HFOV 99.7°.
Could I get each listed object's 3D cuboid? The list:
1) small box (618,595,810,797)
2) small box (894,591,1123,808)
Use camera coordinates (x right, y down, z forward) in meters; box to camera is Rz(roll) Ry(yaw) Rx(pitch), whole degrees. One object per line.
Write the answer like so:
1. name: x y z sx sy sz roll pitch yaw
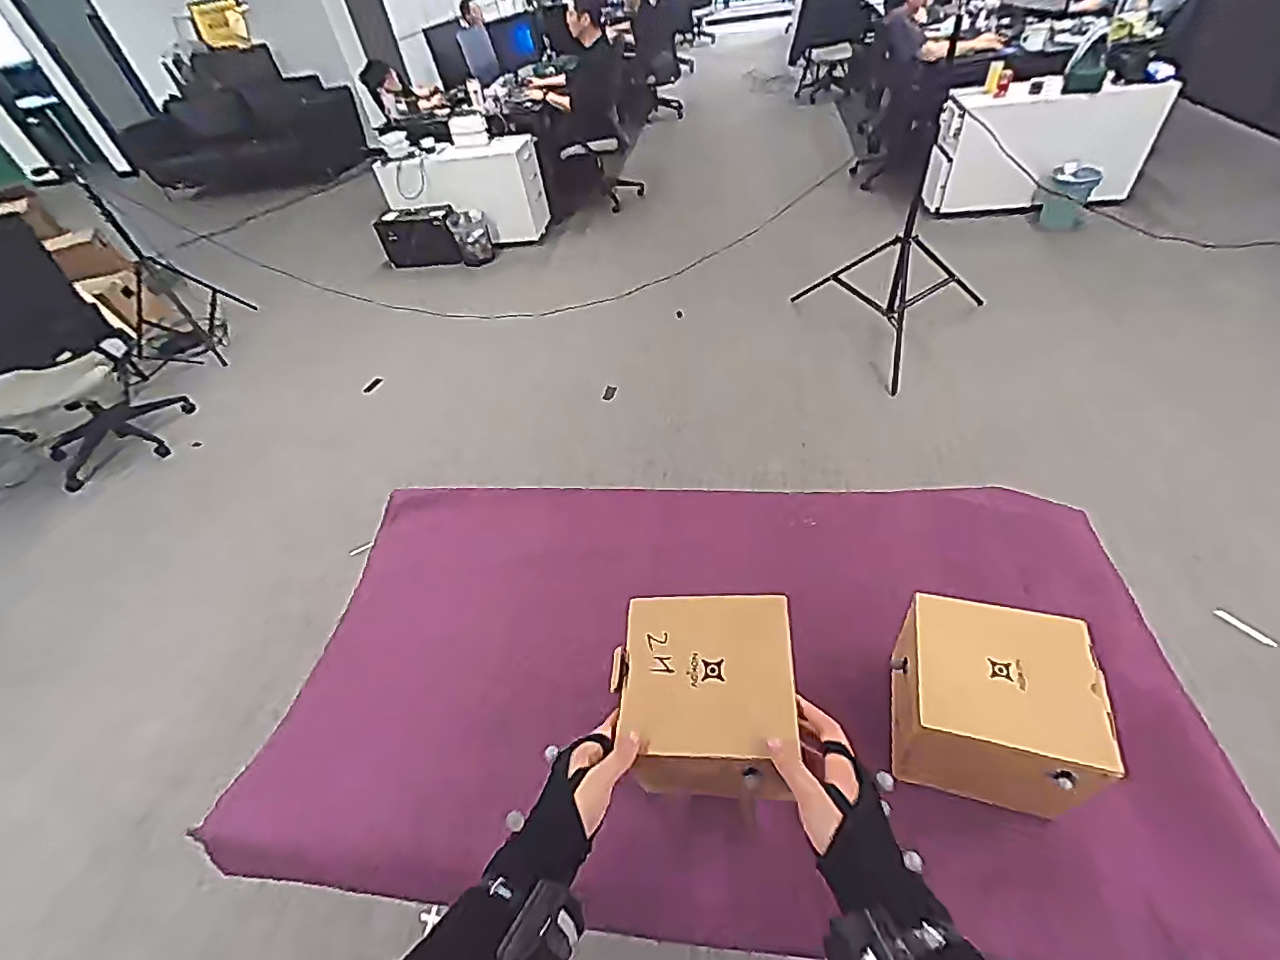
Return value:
1. small box: 0.087 0.240 0.598 0.179 0.176 0.168 -4 50 13
2. small box: 0.403 0.257 0.635 0.179 0.176 0.168 7 47 17
